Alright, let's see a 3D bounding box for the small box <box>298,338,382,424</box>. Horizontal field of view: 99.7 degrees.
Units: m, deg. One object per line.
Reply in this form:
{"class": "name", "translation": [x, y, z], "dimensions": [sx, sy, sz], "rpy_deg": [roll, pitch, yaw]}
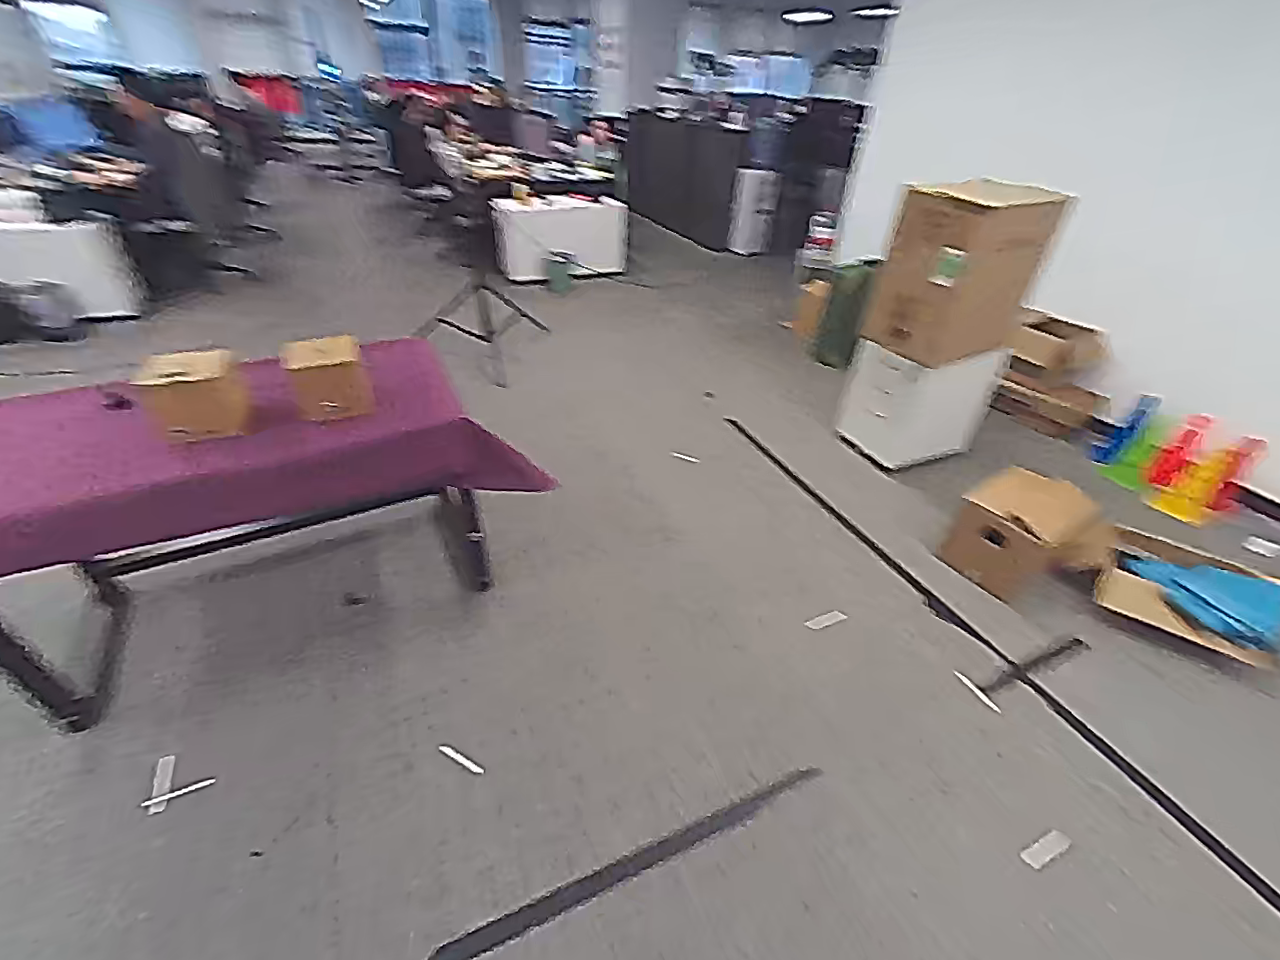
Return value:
{"class": "small box", "translation": [-0.840, -0.279, 1.522], "dimensions": [0.168, 0.176, 0.179], "rpy_deg": [-15, 41, -20]}

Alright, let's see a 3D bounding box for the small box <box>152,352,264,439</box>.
{"class": "small box", "translation": [-1.115, -0.217, 1.414], "dimensions": [0.168, 0.176, 0.179], "rpy_deg": [-10, 38, -18]}
